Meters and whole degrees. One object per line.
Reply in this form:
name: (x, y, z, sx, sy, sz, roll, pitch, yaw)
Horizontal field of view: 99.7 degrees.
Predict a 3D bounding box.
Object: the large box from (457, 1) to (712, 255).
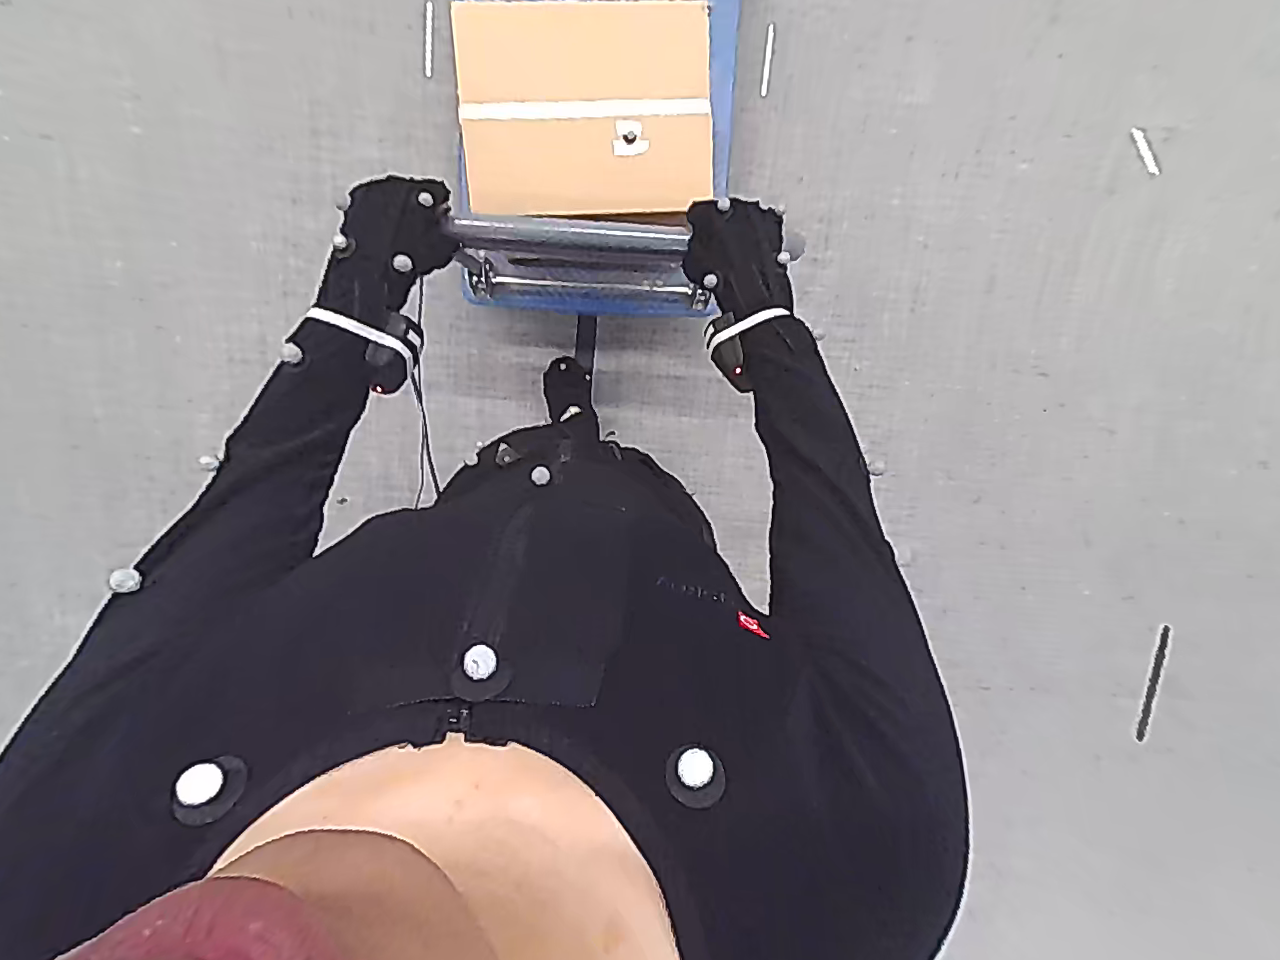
large box: (-0.096, -0.635, 1.032, 0.408, 0.320, 0.320, -4, 101, -4)
